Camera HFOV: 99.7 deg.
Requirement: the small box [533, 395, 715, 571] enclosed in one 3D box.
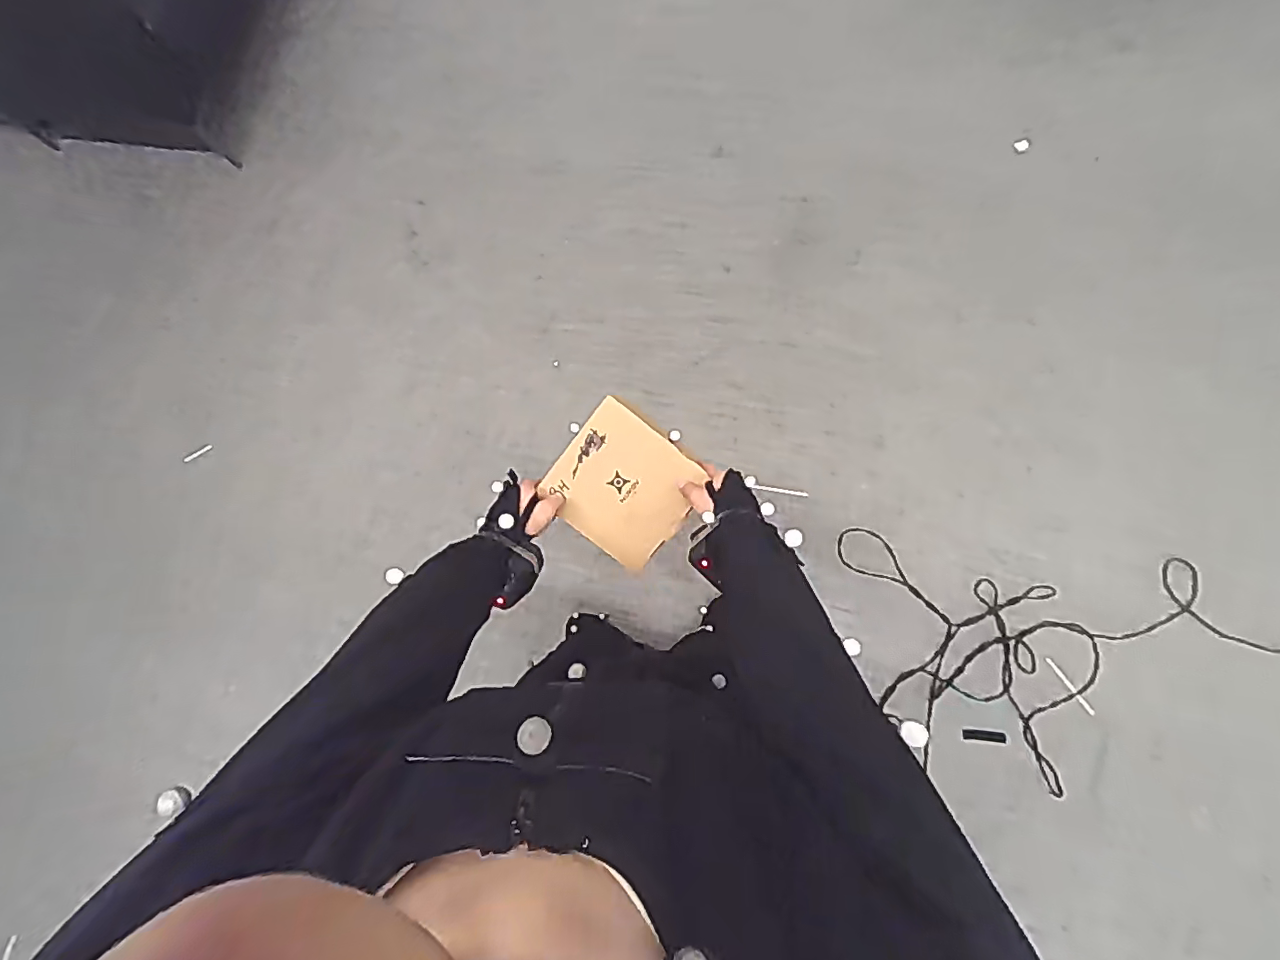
[{"bbox_3d":[-0.018,-0.009,0.761,0.179,0.176,0.168,38,99,-5],"label":"small box"}]
